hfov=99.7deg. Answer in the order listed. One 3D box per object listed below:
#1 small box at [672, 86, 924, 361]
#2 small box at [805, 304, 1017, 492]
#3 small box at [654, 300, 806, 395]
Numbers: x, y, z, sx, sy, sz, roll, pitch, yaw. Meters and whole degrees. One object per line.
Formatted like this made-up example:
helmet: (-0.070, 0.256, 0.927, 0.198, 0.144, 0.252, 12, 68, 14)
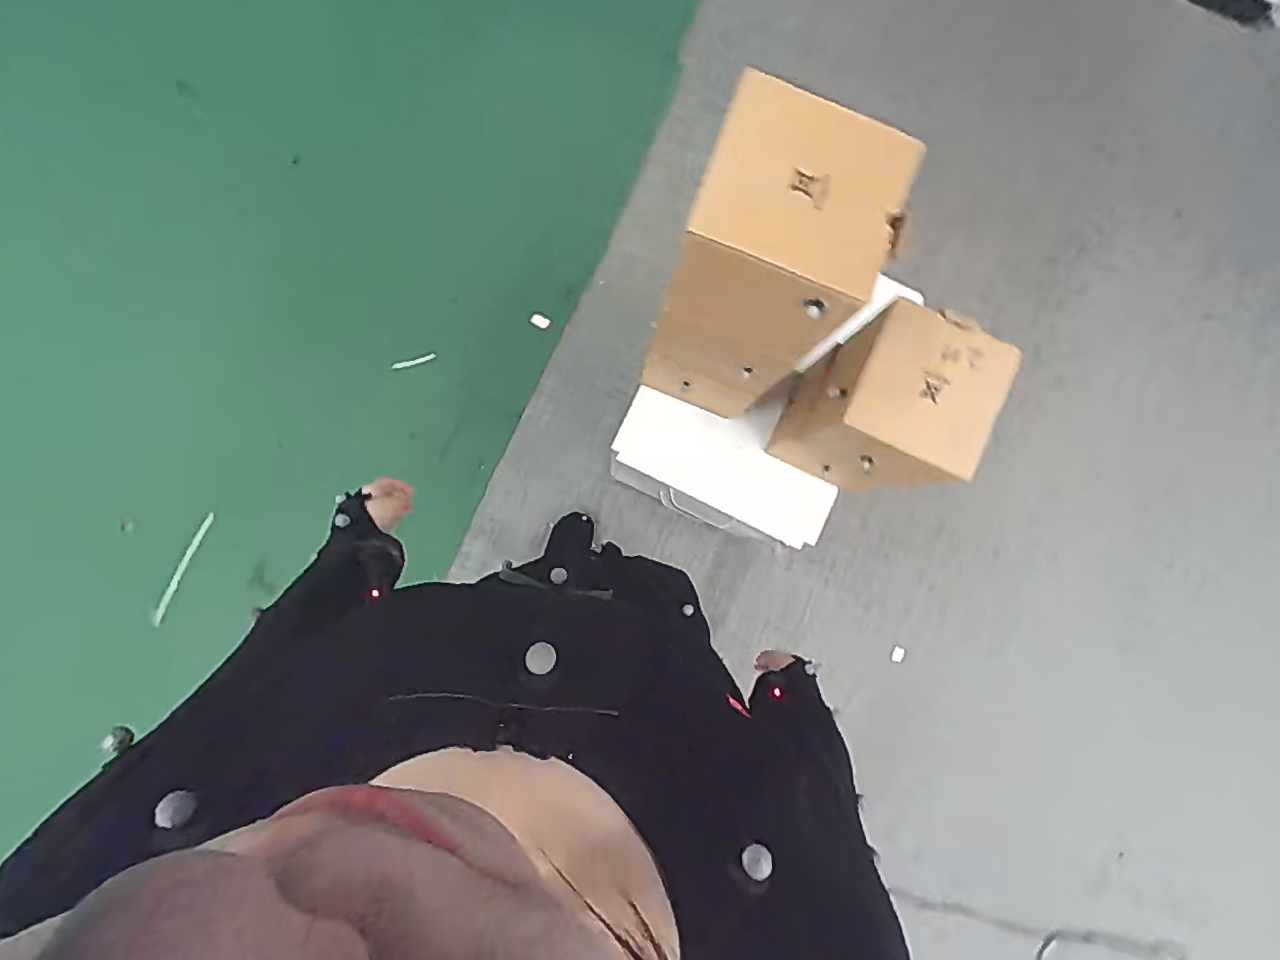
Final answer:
small box: (0.145, -0.244, 0.561, 0.179, 0.176, 0.168, 21, 83, -4)
small box: (0.342, -0.094, 0.722, 0.168, 0.176, 0.179, 26, 84, 0)
small box: (0.131, -0.226, 0.722, 0.179, 0.176, 0.168, 20, 83, -2)
